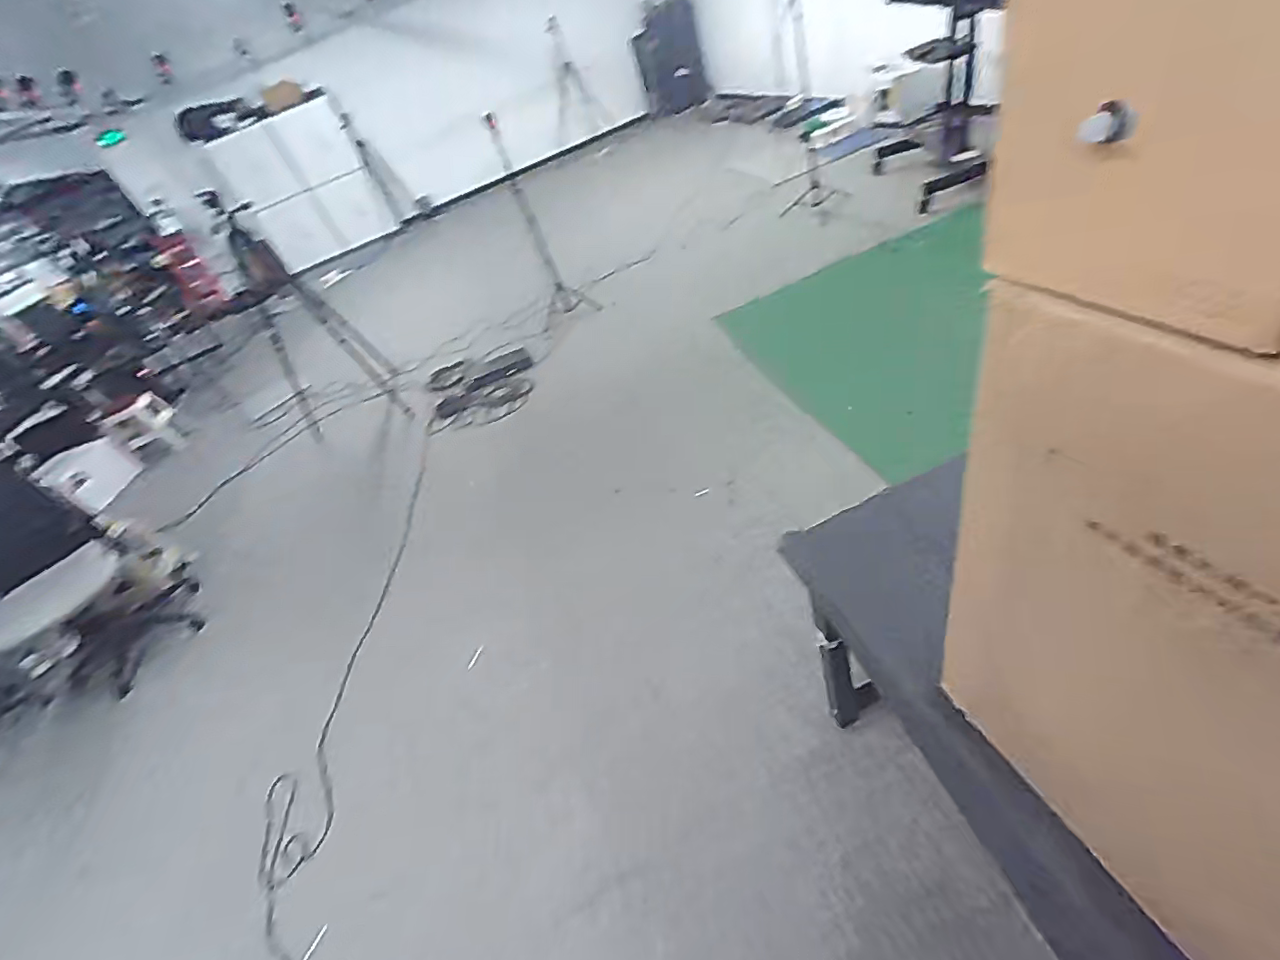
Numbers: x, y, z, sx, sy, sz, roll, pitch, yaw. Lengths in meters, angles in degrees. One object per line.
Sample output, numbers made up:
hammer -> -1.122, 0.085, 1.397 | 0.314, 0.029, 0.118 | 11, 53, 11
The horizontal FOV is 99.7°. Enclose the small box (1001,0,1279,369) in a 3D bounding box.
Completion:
small box -> 0.329, -0.182, 0.282 | 0.168, 0.176, 0.179 | -26, 39, -4
